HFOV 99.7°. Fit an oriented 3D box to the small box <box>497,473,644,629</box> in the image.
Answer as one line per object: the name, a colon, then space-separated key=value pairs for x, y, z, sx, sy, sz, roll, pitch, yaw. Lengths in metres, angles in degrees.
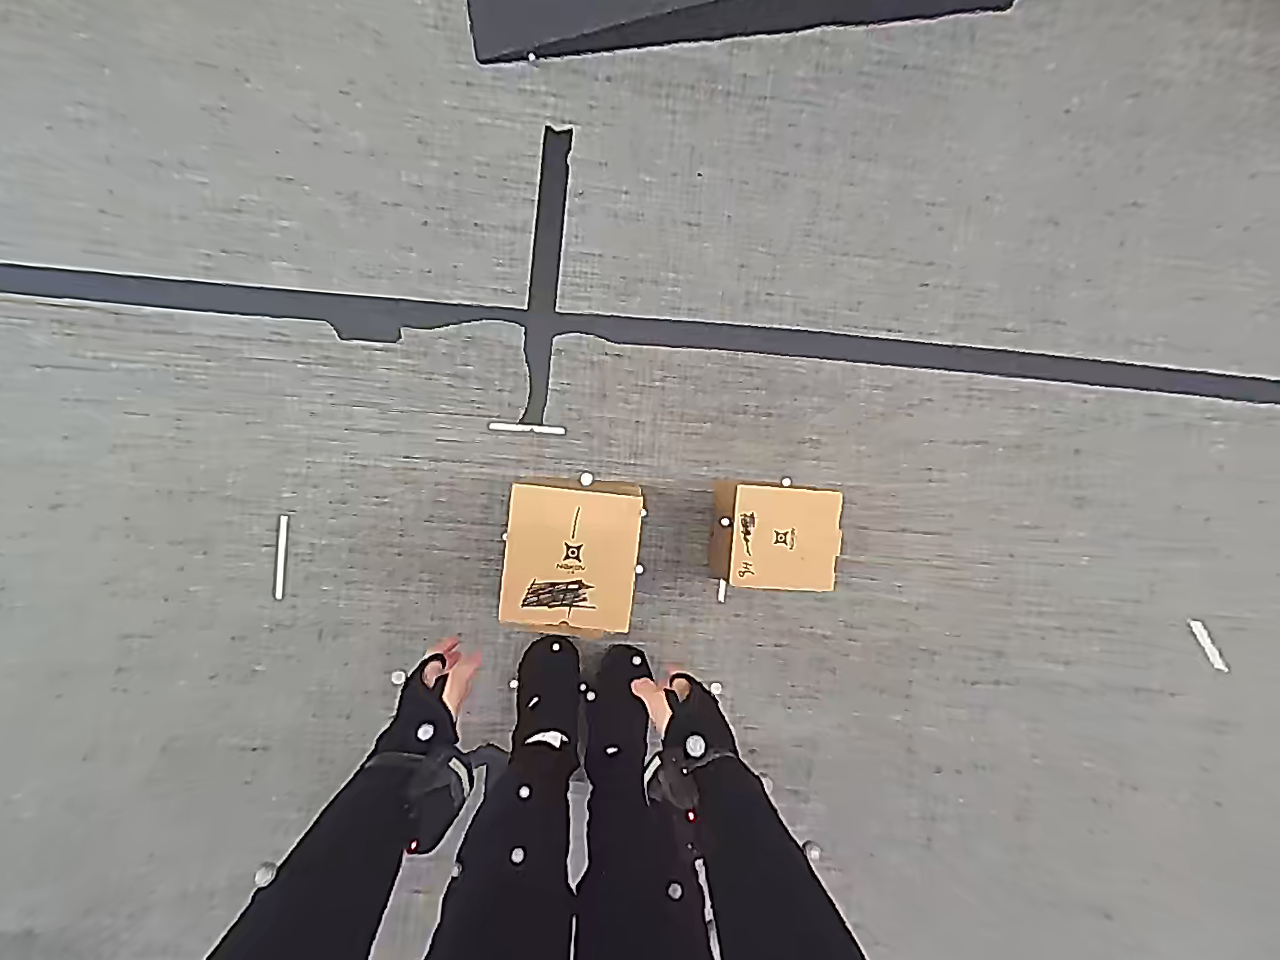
small box: x=-0.091 y=0.087 z=0.745 sx=0.168 sy=0.176 sz=0.179 roll=7 pitch=92 yaw=-5

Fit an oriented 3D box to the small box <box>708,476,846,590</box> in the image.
small box: x=0.226 y=0.084 z=0.931 sx=0.179 sy=0.176 sz=0.168 roll=5 pitch=93 yaw=-5
